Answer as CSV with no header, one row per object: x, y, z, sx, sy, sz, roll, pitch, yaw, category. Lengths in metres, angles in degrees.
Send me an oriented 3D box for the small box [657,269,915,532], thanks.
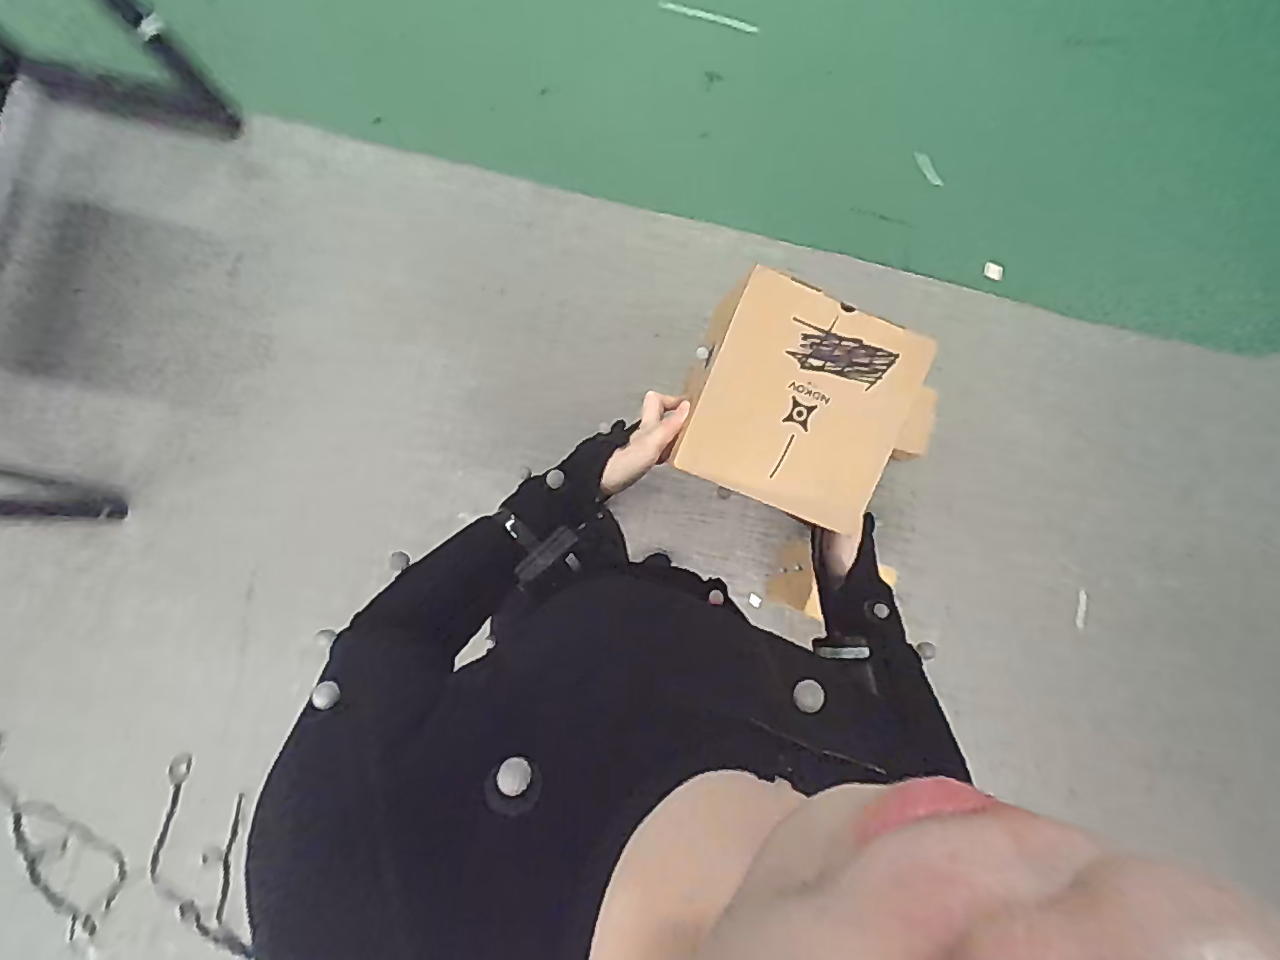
0.121,-0.073,0.529,0.168,0.176,0.179,20,96,-4,small box

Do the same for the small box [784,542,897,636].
0.472,0.252,1.297,0.179,0.176,0.168,21,85,-1,small box

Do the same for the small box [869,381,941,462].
0.599,-0.145,1.335,0.179,0.176,0.168,14,84,-1,small box
